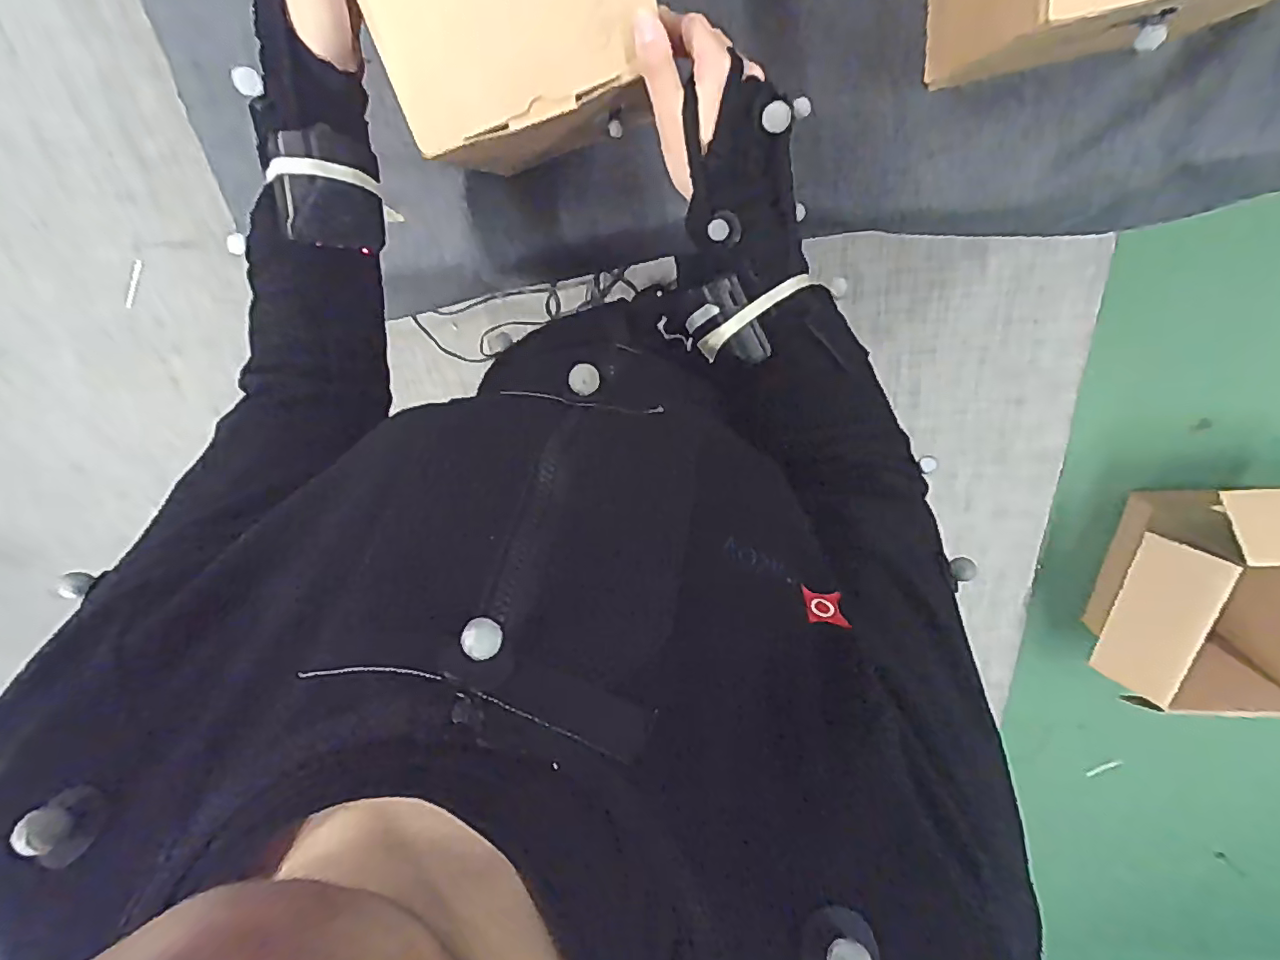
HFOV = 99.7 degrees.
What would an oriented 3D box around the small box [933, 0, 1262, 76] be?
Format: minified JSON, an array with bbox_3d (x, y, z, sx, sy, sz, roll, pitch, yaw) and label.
[{"bbox_3d":[0.297,-0.360,0.308,0.179,0.176,0.168,-6,116,10],"label":"small box"}]
